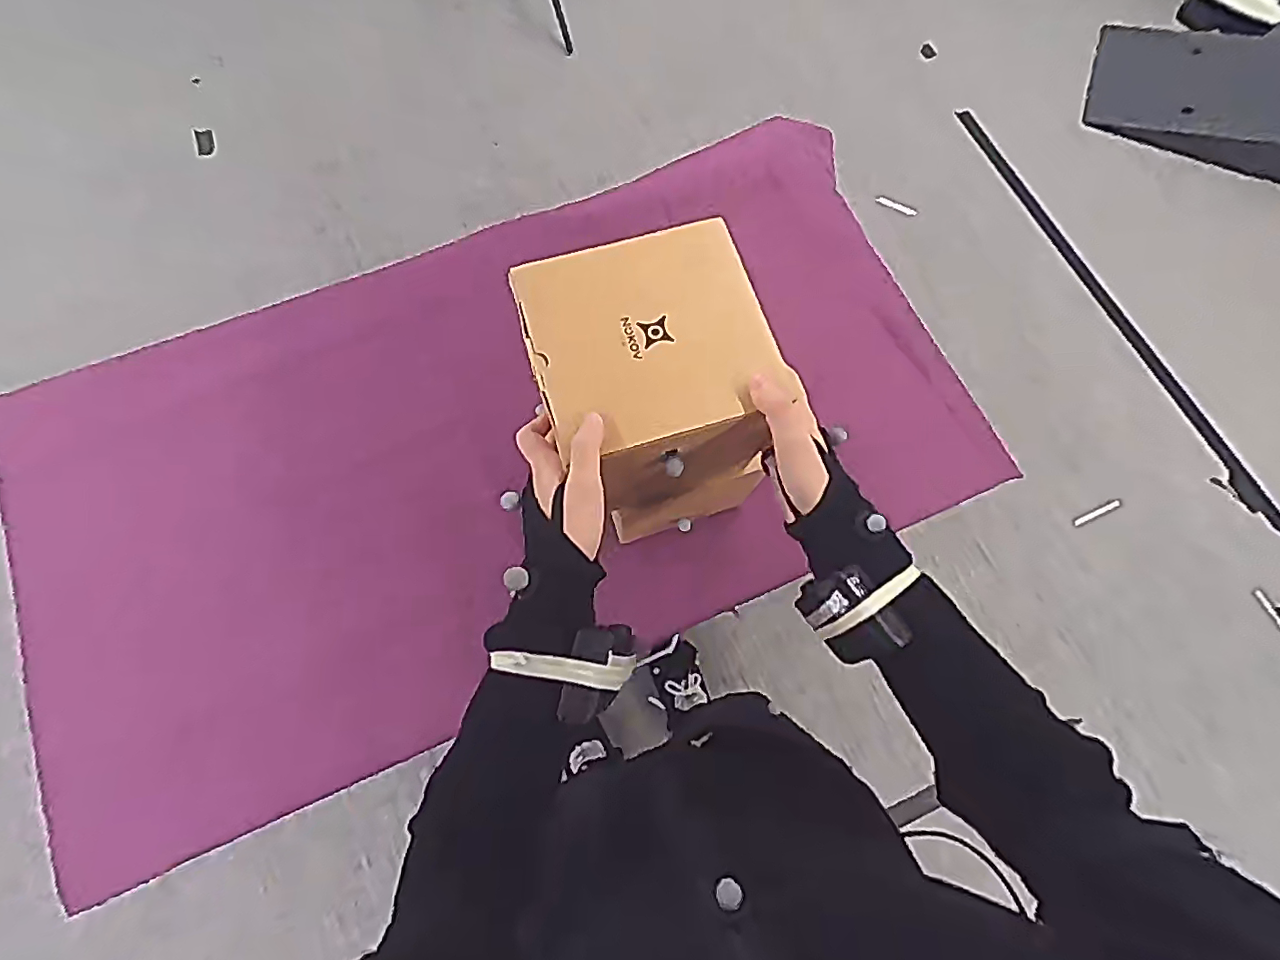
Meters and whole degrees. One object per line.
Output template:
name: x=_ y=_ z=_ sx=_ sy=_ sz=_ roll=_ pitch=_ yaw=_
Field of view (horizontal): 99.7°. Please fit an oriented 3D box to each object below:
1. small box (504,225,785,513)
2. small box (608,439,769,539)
small box: x=-0.001 y=-0.083 z=0.476 sx=0.179 sy=0.176 sz=0.168 roll=-17 pitch=76 yaw=-5
small box: x=0.026 y=-0.046 z=0.636 sx=0.168 sy=0.176 sz=0.179 roll=-17 pitch=76 yaw=-6
